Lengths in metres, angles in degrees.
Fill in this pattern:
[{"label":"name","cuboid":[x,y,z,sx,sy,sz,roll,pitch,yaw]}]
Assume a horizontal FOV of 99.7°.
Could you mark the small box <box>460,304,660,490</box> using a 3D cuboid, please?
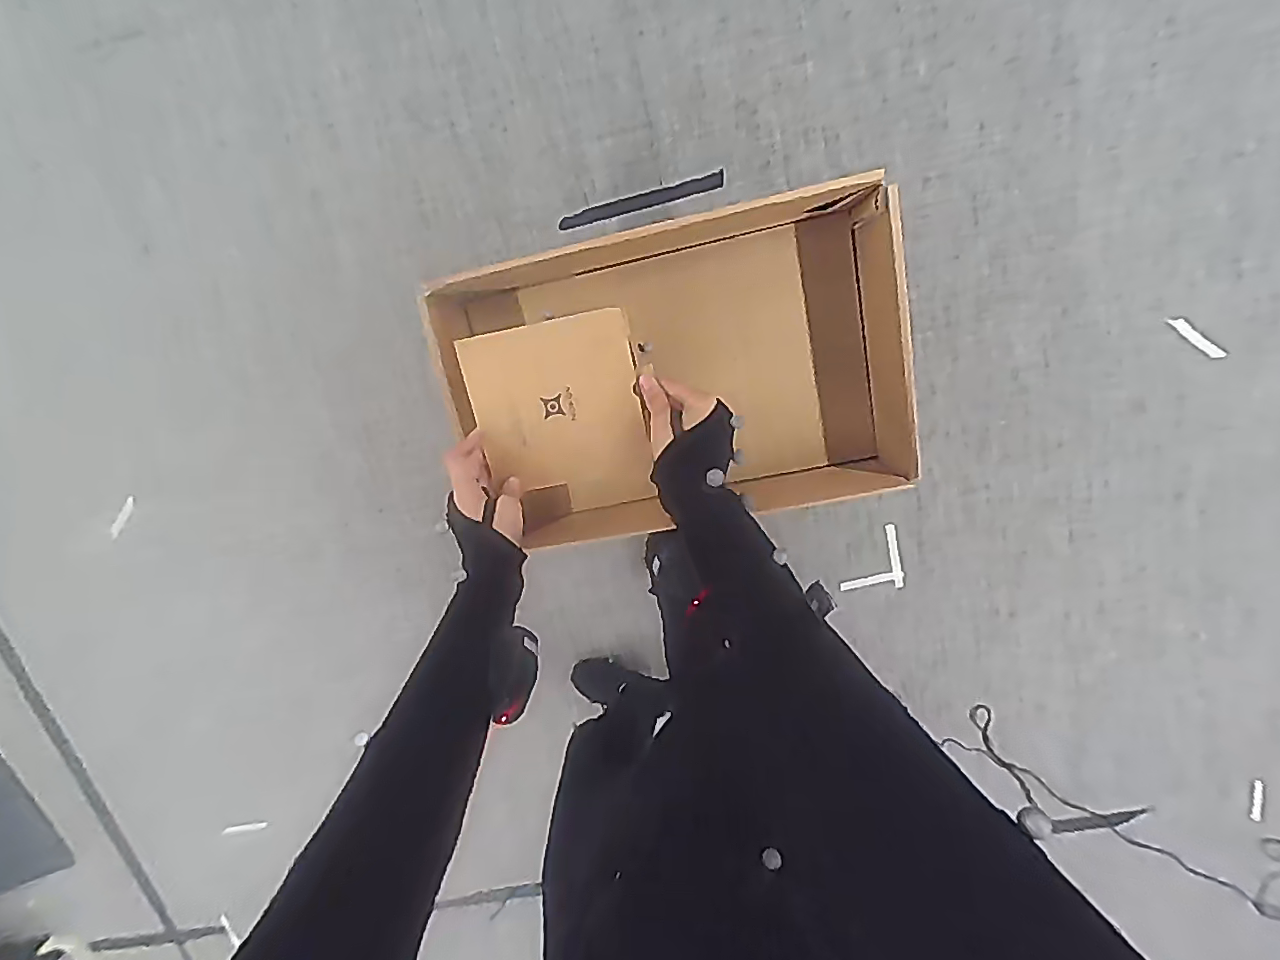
[{"label":"small box","cuboid":[-0.074,-0.101,0.619,0.179,0.176,0.168,-10,104,7]}]
